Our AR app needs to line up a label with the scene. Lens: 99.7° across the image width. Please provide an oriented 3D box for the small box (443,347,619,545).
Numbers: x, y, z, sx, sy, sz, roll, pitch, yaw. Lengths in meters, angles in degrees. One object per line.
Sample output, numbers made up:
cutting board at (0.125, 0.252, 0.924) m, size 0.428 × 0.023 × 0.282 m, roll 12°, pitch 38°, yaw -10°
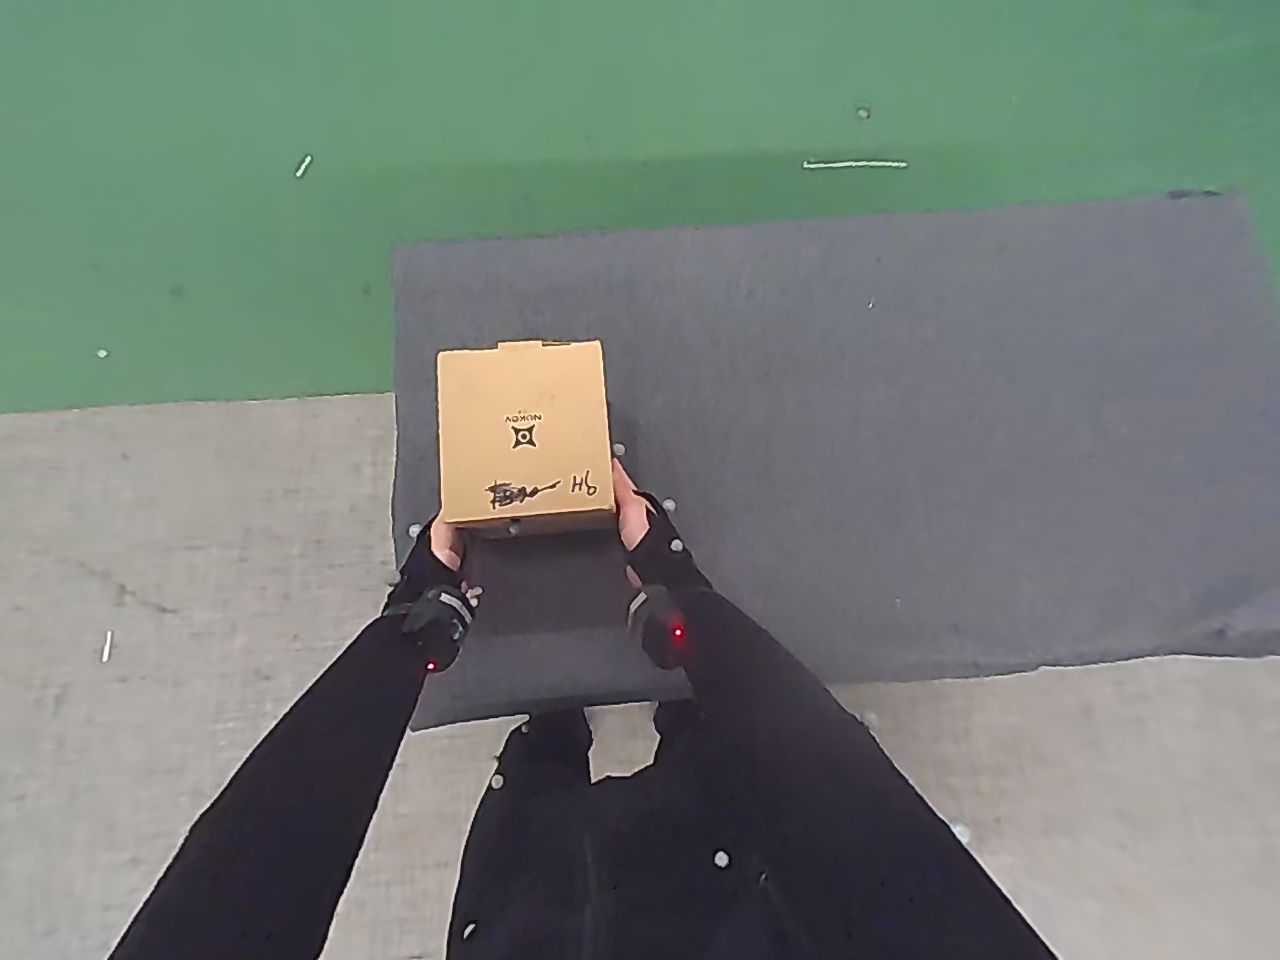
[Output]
small box at (-0.112, -0.028, 0.605) m, size 0.168 × 0.176 × 0.179 m, roll -5°, pitch 79°, yaw -2°
